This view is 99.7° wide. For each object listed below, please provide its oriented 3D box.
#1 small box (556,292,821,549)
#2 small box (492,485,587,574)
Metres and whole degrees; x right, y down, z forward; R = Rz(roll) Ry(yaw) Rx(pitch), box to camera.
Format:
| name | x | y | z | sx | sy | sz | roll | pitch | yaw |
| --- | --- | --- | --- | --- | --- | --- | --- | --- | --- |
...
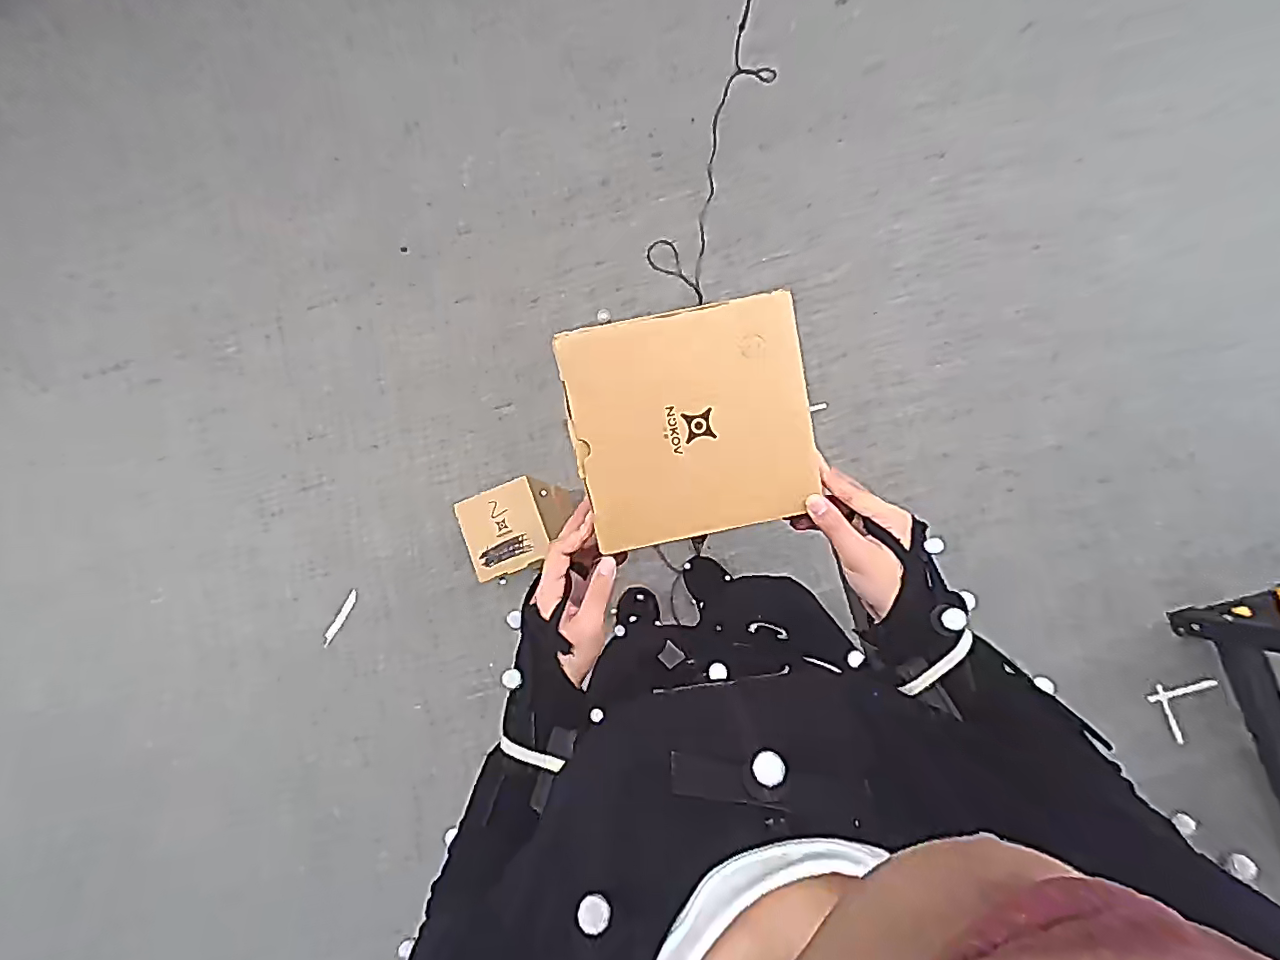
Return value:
| name | x | y | z | sx | sy | sz | roll | pitch | yaw |
| --- | --- | --- | --- | --- | --- | --- | --- | --- | --- |
| small box | 0.037 | -0.055 | 0.474 | 0.179 | 0.176 | 0.168 | -11 | 100 | 2 |
| small box | -0.242 | 0.122 | 1.338 | 0.168 | 0.176 | 0.179 | -17 | 83 | 3 |
